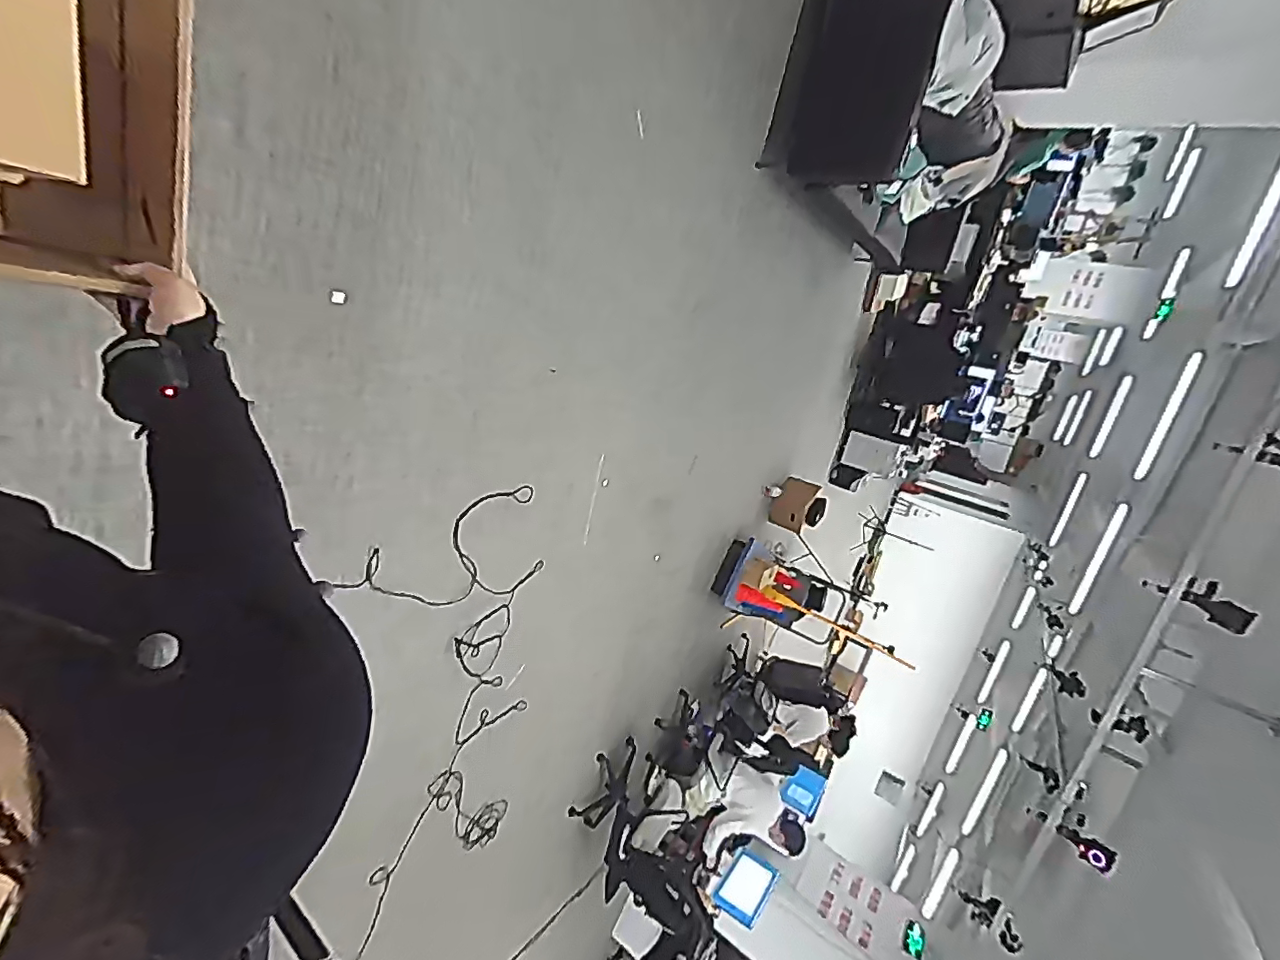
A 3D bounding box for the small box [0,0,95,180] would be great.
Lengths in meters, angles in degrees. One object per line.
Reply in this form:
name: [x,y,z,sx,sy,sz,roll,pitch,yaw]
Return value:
small box: [-0.434,-0.276,0.285,0.179,0.176,0.168,-11,119,-55]
